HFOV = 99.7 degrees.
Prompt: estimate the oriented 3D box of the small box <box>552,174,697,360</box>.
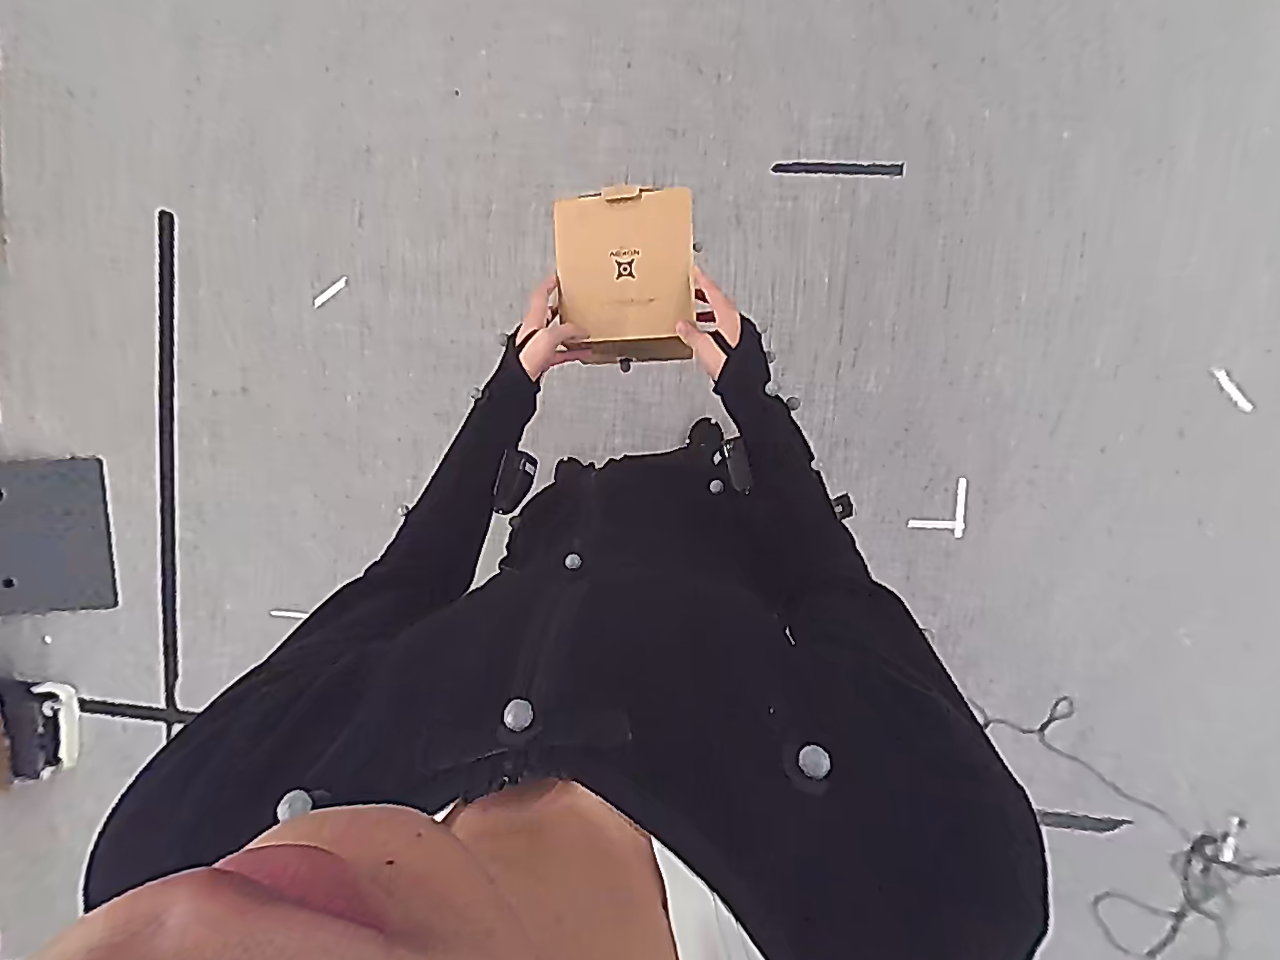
[{"bbox_3d":[-0.014,-0.264,0.707,0.168,0.176,0.179,-3,92,5],"label":"small box"}]
